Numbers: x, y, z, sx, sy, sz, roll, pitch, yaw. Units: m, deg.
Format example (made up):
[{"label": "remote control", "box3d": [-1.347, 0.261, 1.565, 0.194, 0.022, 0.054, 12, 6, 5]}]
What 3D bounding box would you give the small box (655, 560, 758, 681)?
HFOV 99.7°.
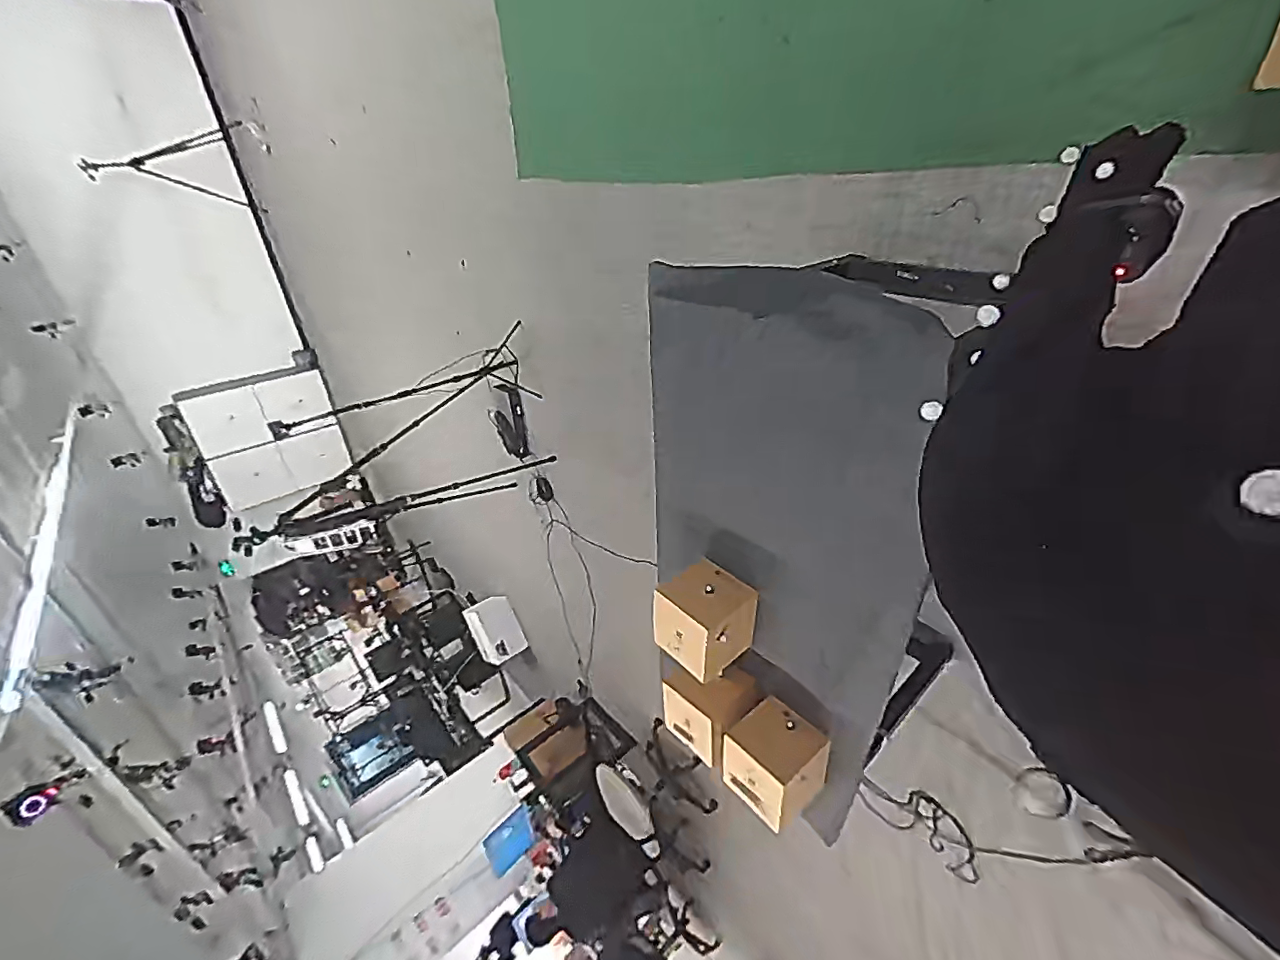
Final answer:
[{"label": "small box", "box3d": [0.153, 0.314, 1.247, 0.168, 0.176, 0.179, 32, 135, 40]}]
